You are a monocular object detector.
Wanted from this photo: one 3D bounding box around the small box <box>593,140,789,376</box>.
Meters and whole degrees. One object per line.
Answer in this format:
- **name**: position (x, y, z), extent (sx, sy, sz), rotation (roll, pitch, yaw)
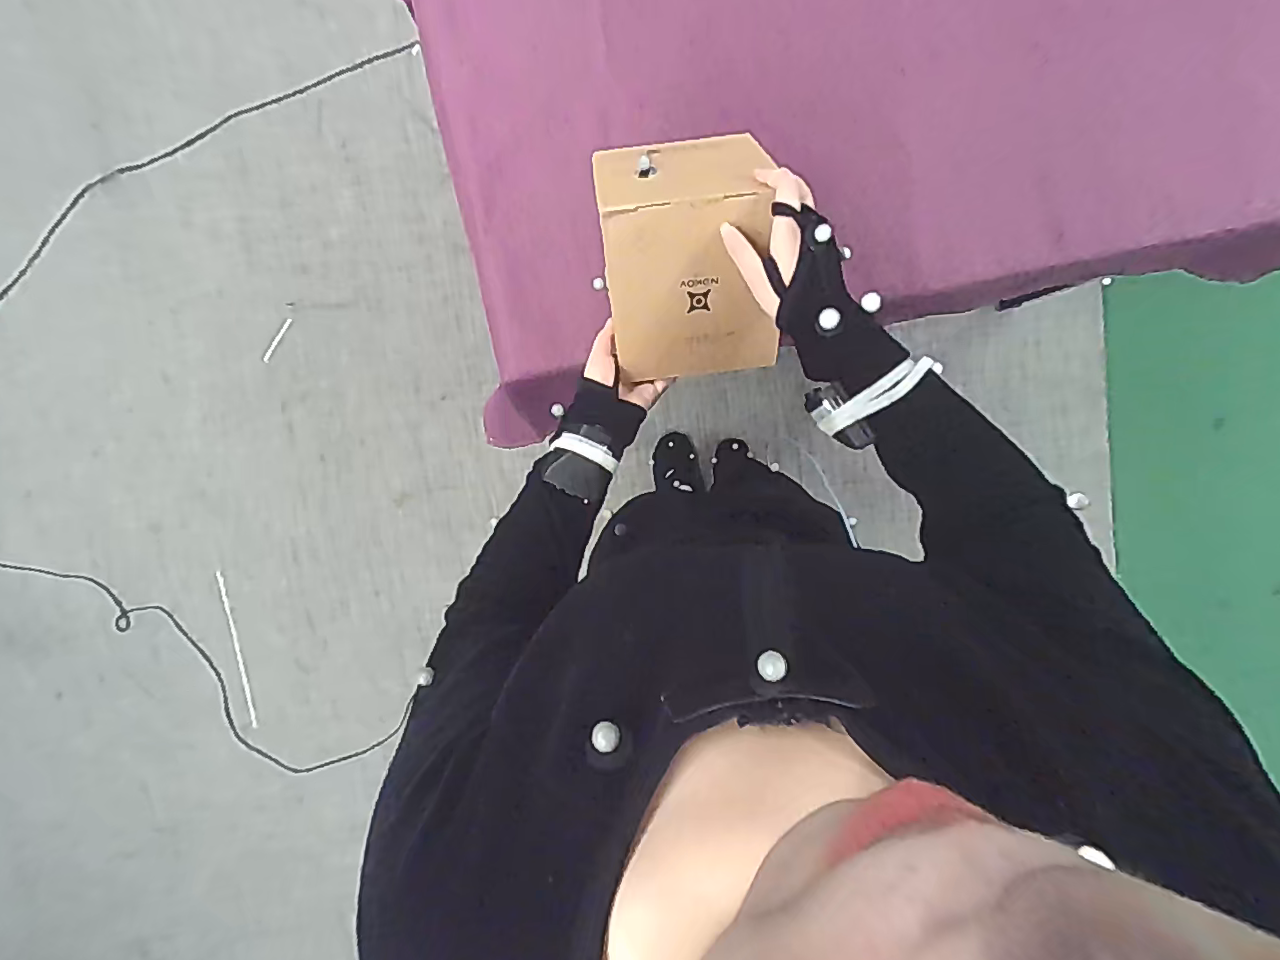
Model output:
- **small box**: position (0.043, -0.235, 0.563), extent (0.168, 0.176, 0.179), rotation (-7, 135, 0)
